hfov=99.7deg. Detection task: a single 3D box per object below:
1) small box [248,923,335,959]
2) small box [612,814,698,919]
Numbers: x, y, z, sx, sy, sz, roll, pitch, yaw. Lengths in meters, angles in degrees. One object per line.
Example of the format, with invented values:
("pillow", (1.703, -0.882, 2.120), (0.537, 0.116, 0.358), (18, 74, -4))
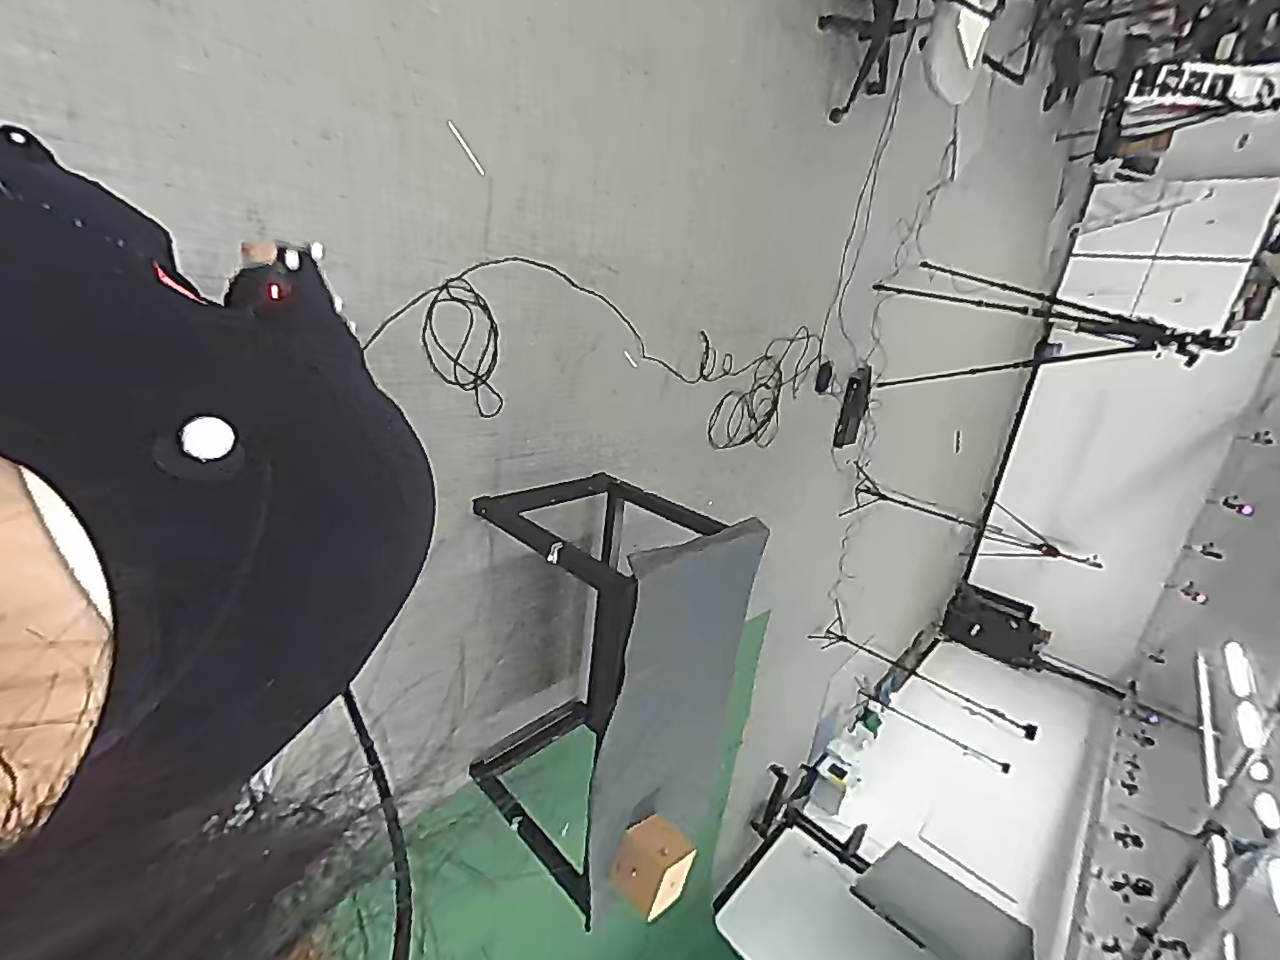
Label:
("small box", (-1.104, 1.524, 1.683), (0.168, 0.176, 0.179), (-53, 139, -17))
("small box", (0.044, 1.168, 1.650), (0.179, 0.176, 0.168), (17, 94, -53))
